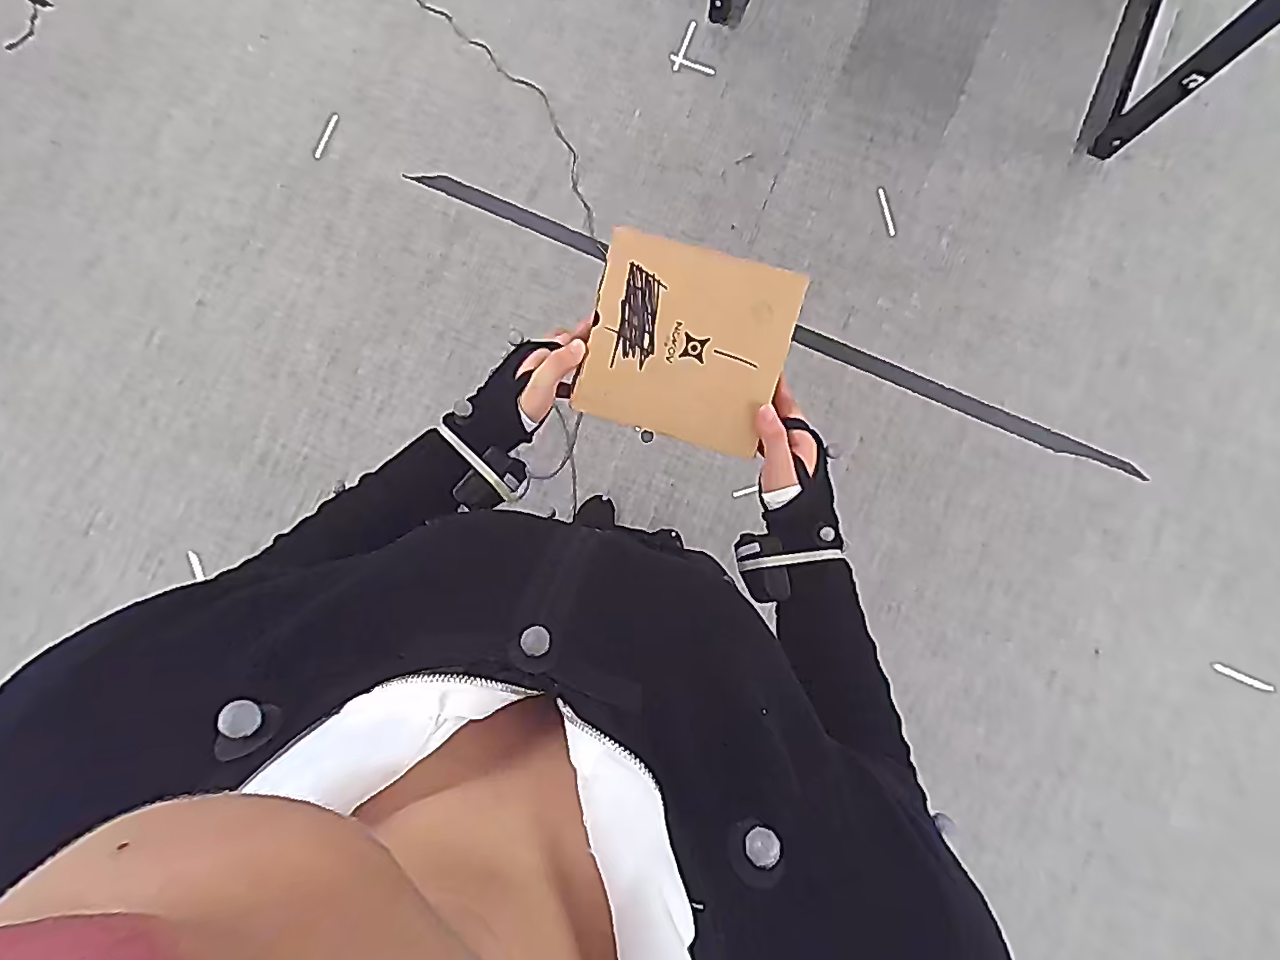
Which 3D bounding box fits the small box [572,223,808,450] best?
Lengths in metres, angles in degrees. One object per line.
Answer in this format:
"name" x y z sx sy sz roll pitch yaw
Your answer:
"small box" 0.047 -0.136 0.560 0.179 0.176 0.168 16 99 2
